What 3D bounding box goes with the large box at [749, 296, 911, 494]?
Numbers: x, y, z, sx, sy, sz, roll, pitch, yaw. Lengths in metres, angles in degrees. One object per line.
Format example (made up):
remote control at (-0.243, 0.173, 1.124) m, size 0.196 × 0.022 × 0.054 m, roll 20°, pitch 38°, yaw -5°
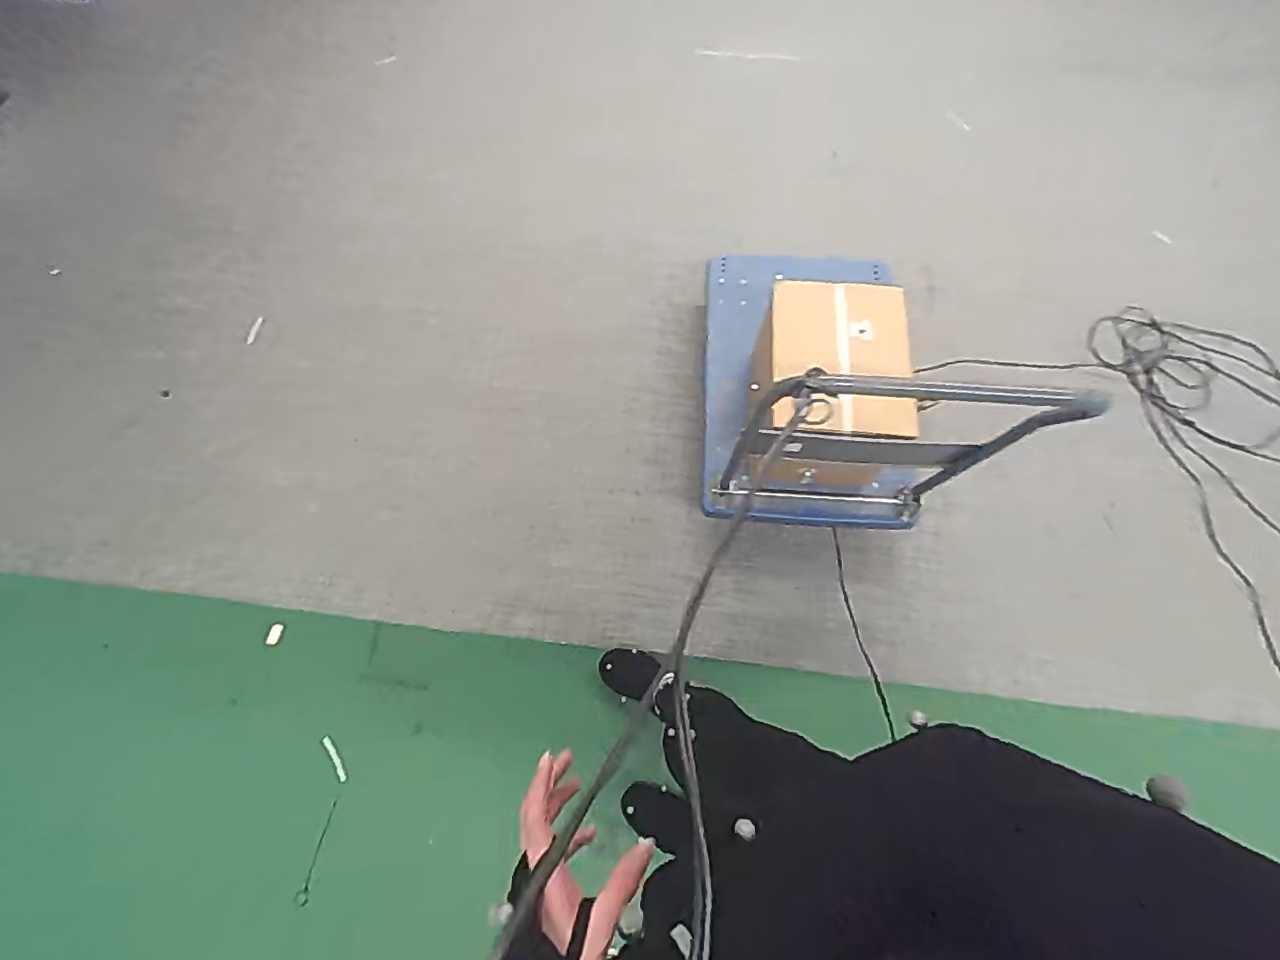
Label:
large box at (0.458, -0.206, 1.397) m, size 0.320 × 0.320 × 0.408 m, roll 5°, pitch 67°, yaw 2°
